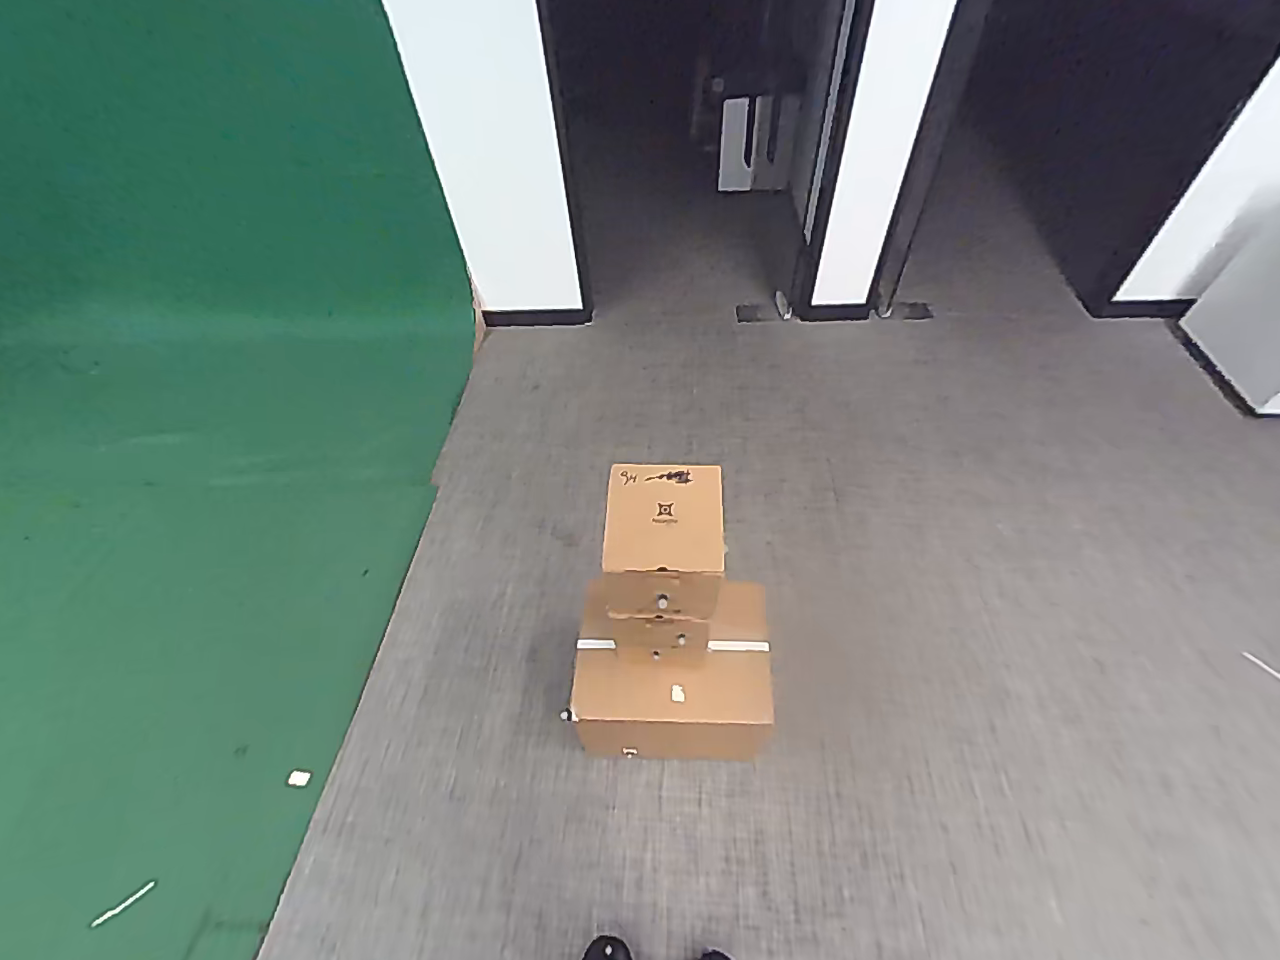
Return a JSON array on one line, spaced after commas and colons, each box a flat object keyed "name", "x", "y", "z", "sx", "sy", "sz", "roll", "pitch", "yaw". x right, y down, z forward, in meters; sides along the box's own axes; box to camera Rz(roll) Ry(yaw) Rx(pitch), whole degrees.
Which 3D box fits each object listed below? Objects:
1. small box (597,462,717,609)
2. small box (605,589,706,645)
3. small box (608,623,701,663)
[{"name": "small box", "x": 0.032, "y": 0.091, "z": 0.835, "sx": 0.168, "sy": 0.176, "sz": 0.179, "roll": 1, "pitch": 58, "yaw": 3}, {"name": "small box", "x": 0.032, "y": 0.186, "z": 0.967, "sx": 0.168, "sy": 0.176, "sz": 0.179, "roll": 1, "pitch": 56, "yaw": 3}, {"name": "small box", "x": 0.042, "y": 0.263, "z": 1.107, "sx": 0.179, "sy": 0.176, "sz": 0.168, "roll": 6, "pitch": 56, "yaw": 8}]
